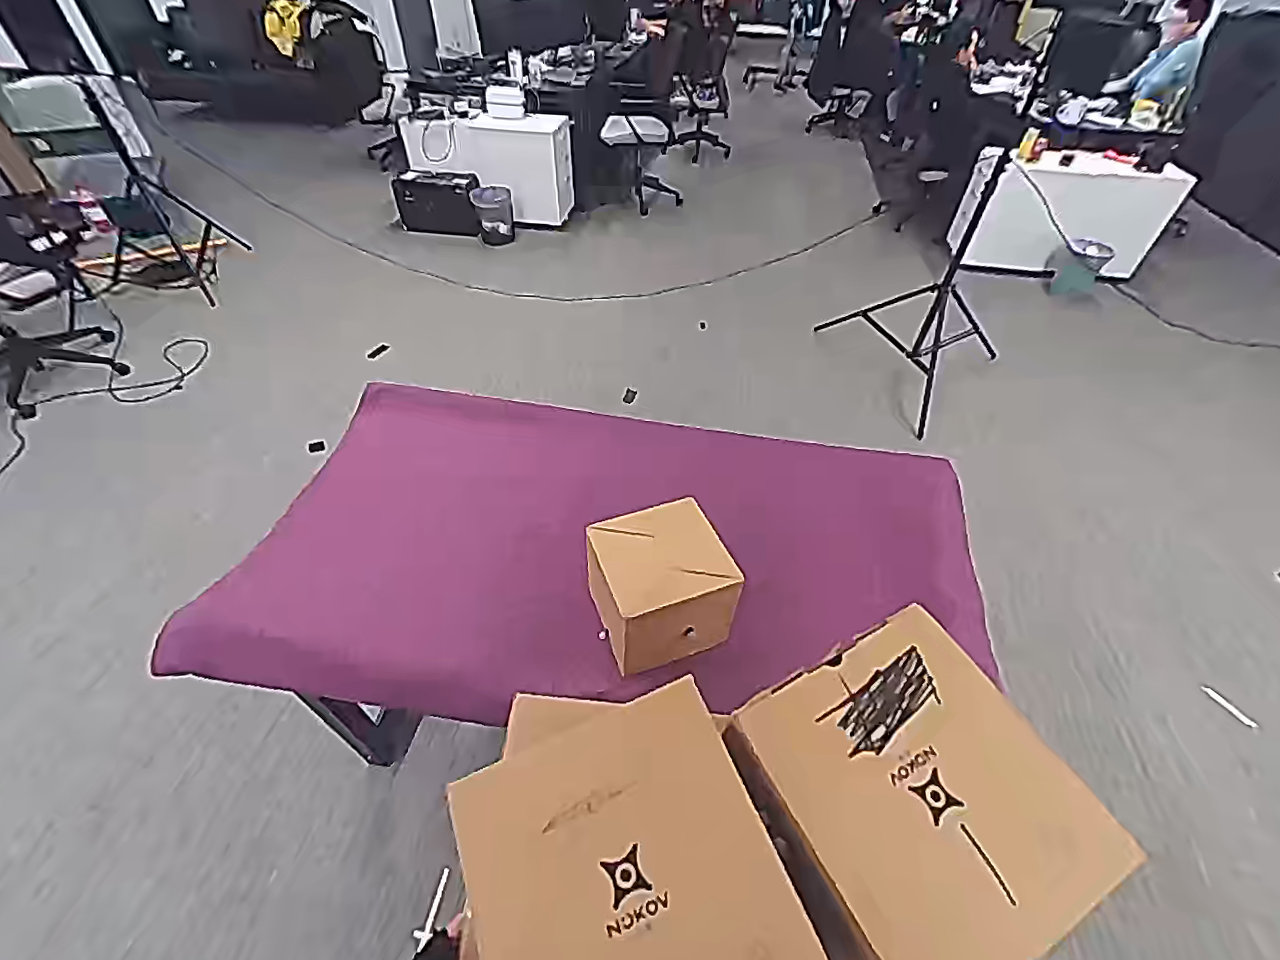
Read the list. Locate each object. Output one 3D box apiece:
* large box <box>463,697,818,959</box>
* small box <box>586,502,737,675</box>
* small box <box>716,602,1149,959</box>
[{"bbox_3d":[0.064,0.430,0.534,0.408,0.320,0.320,5,54,2],"label":"large box"},{"bbox_3d":[0.028,0.155,0.807,0.179,0.176,0.168,-15,46,-15],"label":"small box"},{"bbox_3d":[0.170,0.224,0.384,0.168,0.176,0.179,-23,57,-16],"label":"small box"}]
